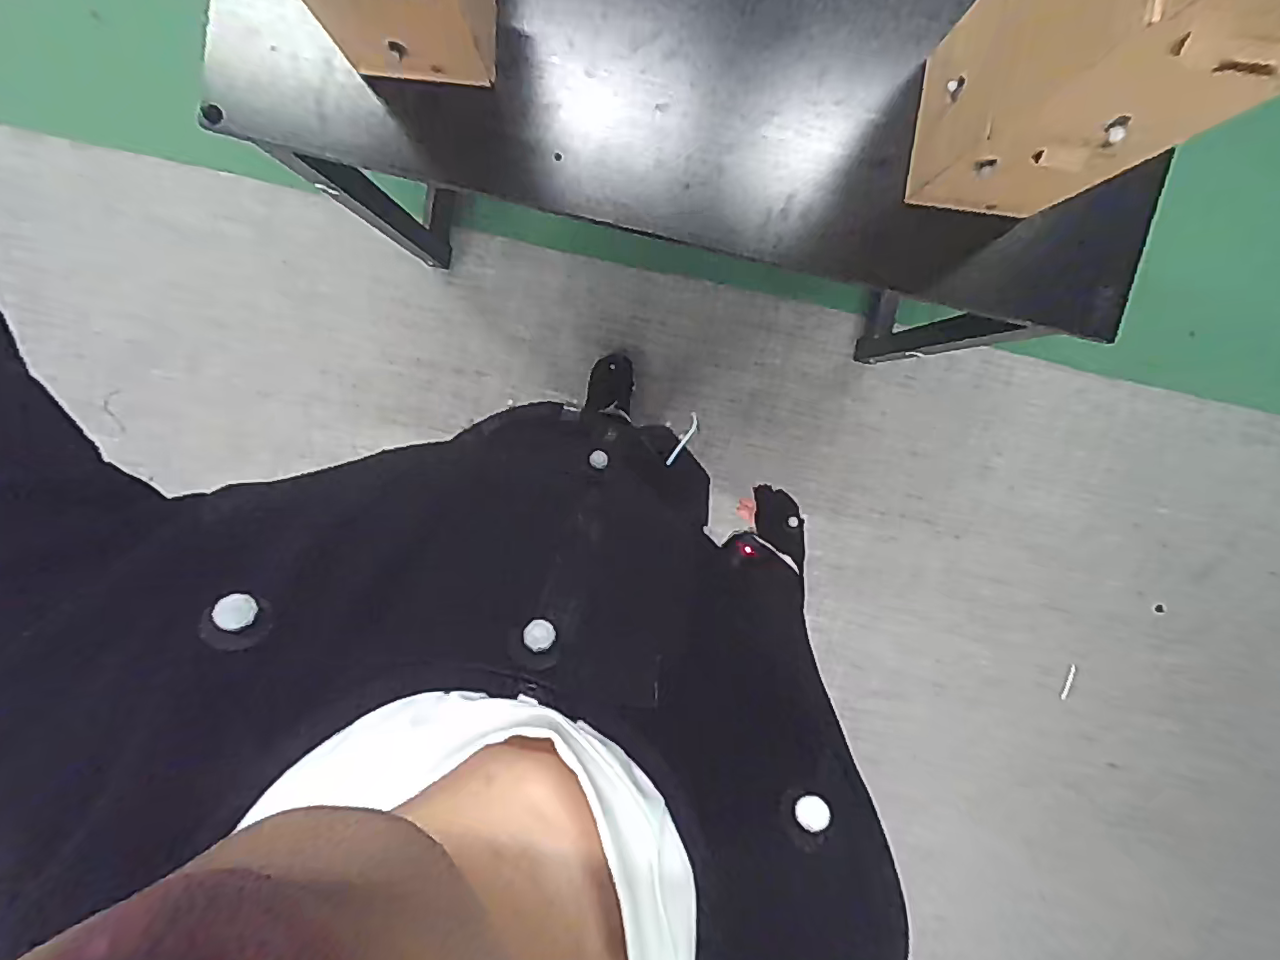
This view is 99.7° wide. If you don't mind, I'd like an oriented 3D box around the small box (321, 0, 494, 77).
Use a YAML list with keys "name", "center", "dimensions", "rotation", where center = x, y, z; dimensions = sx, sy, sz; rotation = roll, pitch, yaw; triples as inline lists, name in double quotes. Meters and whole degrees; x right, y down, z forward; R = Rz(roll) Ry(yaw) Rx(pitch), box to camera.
- name: "small box"
  center: [-0.251, -0.570, 0.562]
  dimensions: [0.168, 0.176, 0.179]
  rotation: [3, 100, -3]

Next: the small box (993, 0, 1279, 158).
- name: "small box"
  center: [0.431, -0.402, 0.445]
  dimensions: [0.168, 0.176, 0.179]
  rotation: [4, 98, -2]
